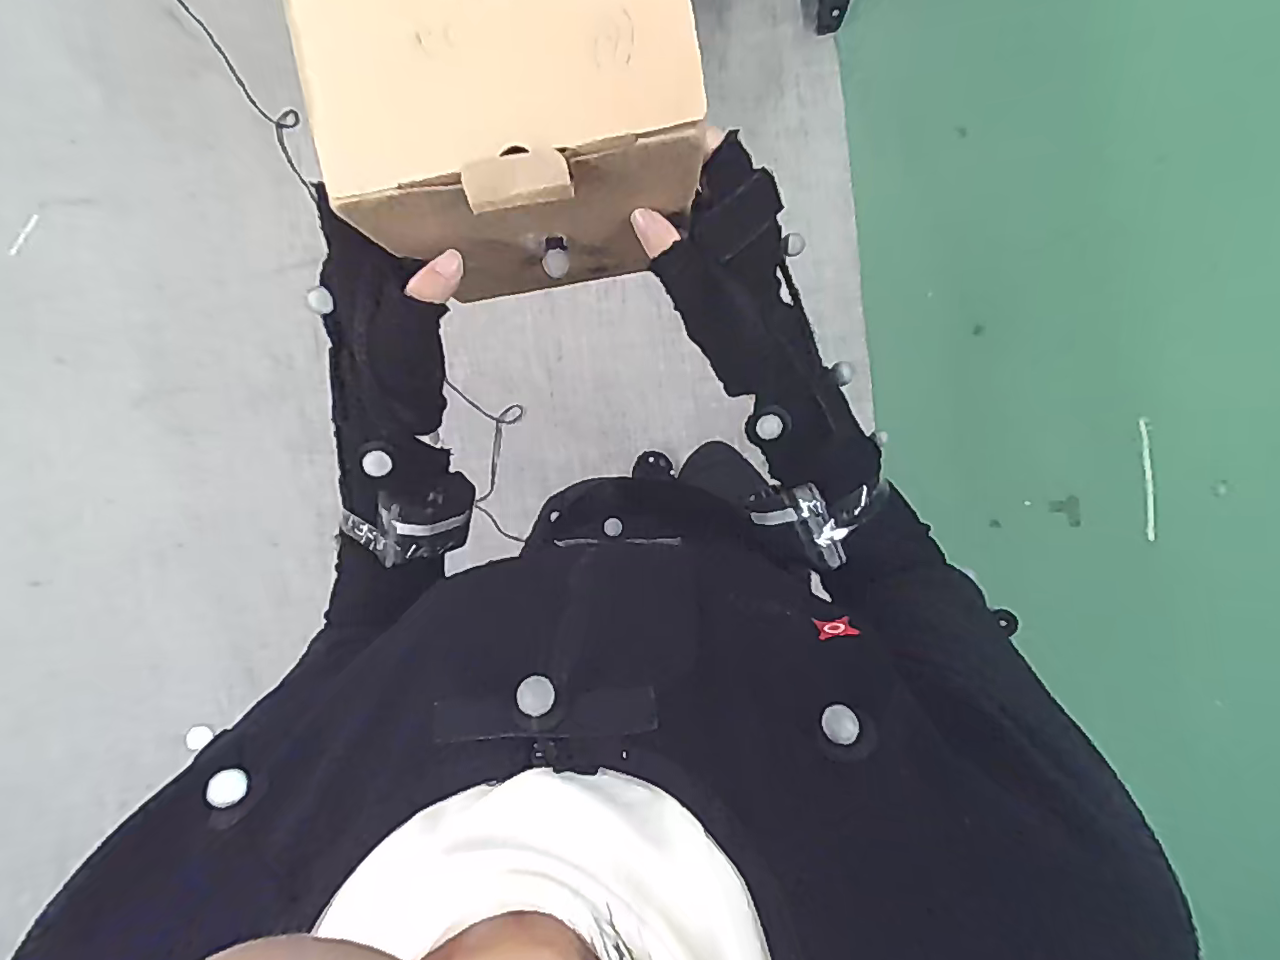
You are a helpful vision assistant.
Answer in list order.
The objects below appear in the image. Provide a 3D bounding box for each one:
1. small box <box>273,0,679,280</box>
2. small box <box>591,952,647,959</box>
[{"bbox_3d":[-0.071,-0.224,0.302,0.168,0.176,0.179,-8,94,2],"label":"small box"},{"bbox_3d":[-0.061,1.348,1.361,0.179,0.176,0.168,-11,93,2],"label":"small box"}]
